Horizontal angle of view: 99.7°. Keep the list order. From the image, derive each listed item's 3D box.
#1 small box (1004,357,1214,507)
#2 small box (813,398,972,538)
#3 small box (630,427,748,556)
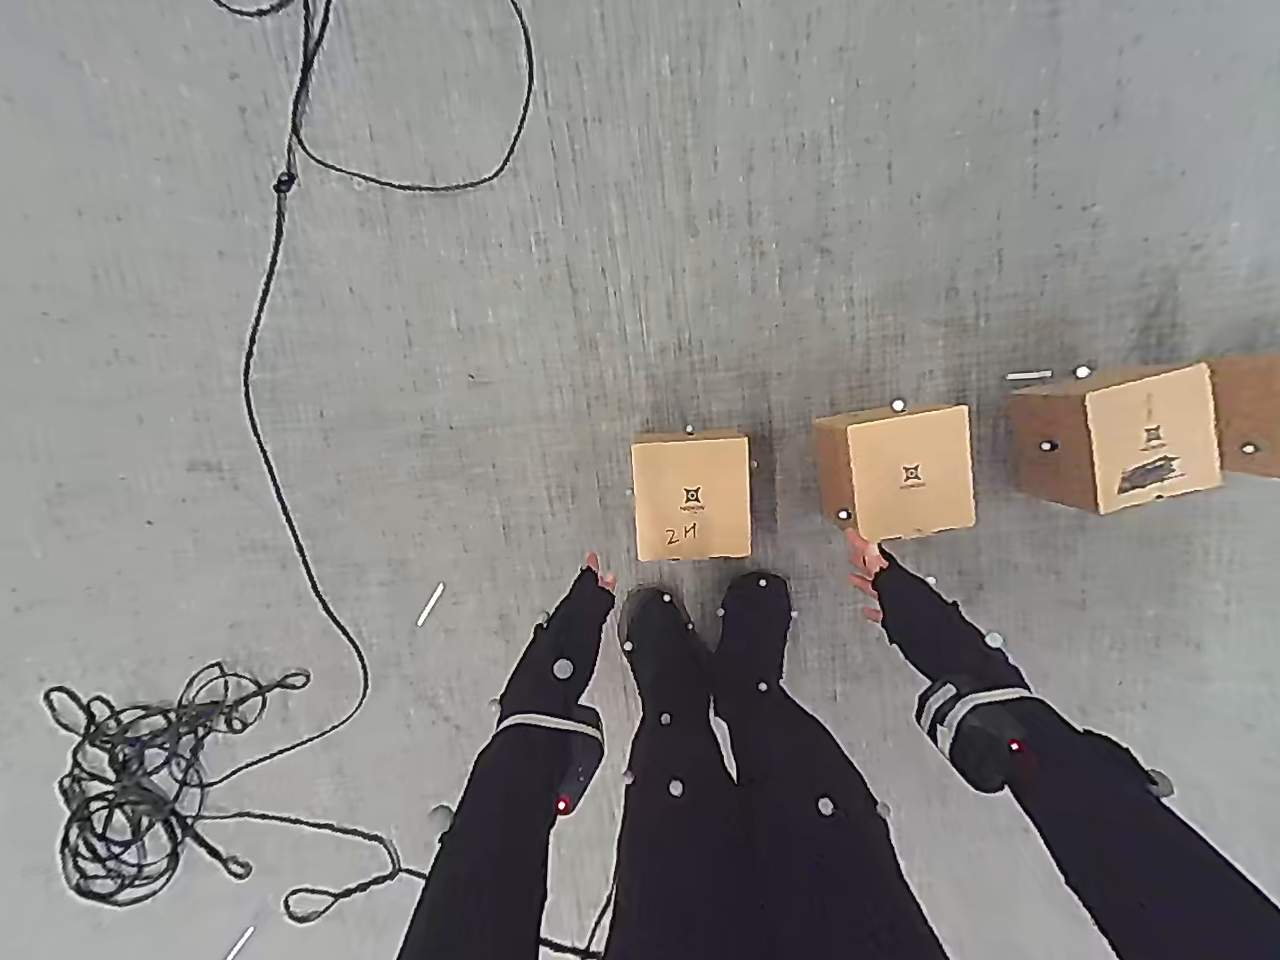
[{"bbox_3d":[0.689,-0.077,0.812,0.168,0.176,0.179,-15,98,4],"label":"small box"},{"bbox_3d":[0.375,-0.027,0.830,0.168,0.176,0.179,-10,100,4],"label":"small box"},{"bbox_3d":[0.073,0.009,0.845,0.168,0.176,0.179,-3,100,3],"label":"small box"}]
